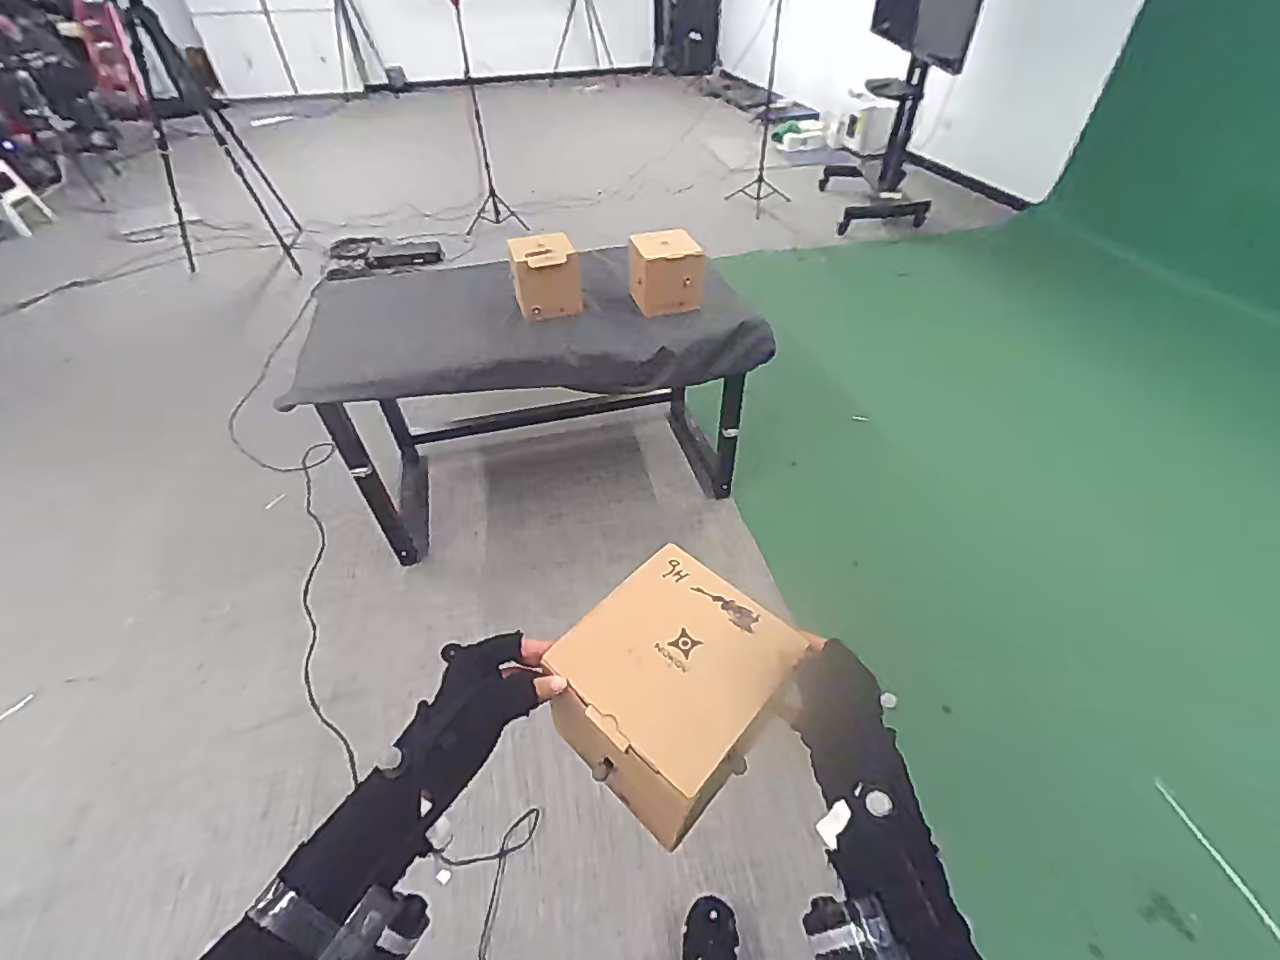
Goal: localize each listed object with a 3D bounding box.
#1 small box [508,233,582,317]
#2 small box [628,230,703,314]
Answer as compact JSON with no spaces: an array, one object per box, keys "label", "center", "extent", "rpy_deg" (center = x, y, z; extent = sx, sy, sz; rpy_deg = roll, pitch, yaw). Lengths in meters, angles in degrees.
[{"label":"small box","center":[-0.265,-0.570,1.522],"extent":[0.168,0.176,0.179],"rpy_deg":[-14,45,-12]},{"label":"small box","center":[0.069,-0.580,1.523],"extent":[0.168,0.176,0.179],"rpy_deg":[-12,44,-11]}]
